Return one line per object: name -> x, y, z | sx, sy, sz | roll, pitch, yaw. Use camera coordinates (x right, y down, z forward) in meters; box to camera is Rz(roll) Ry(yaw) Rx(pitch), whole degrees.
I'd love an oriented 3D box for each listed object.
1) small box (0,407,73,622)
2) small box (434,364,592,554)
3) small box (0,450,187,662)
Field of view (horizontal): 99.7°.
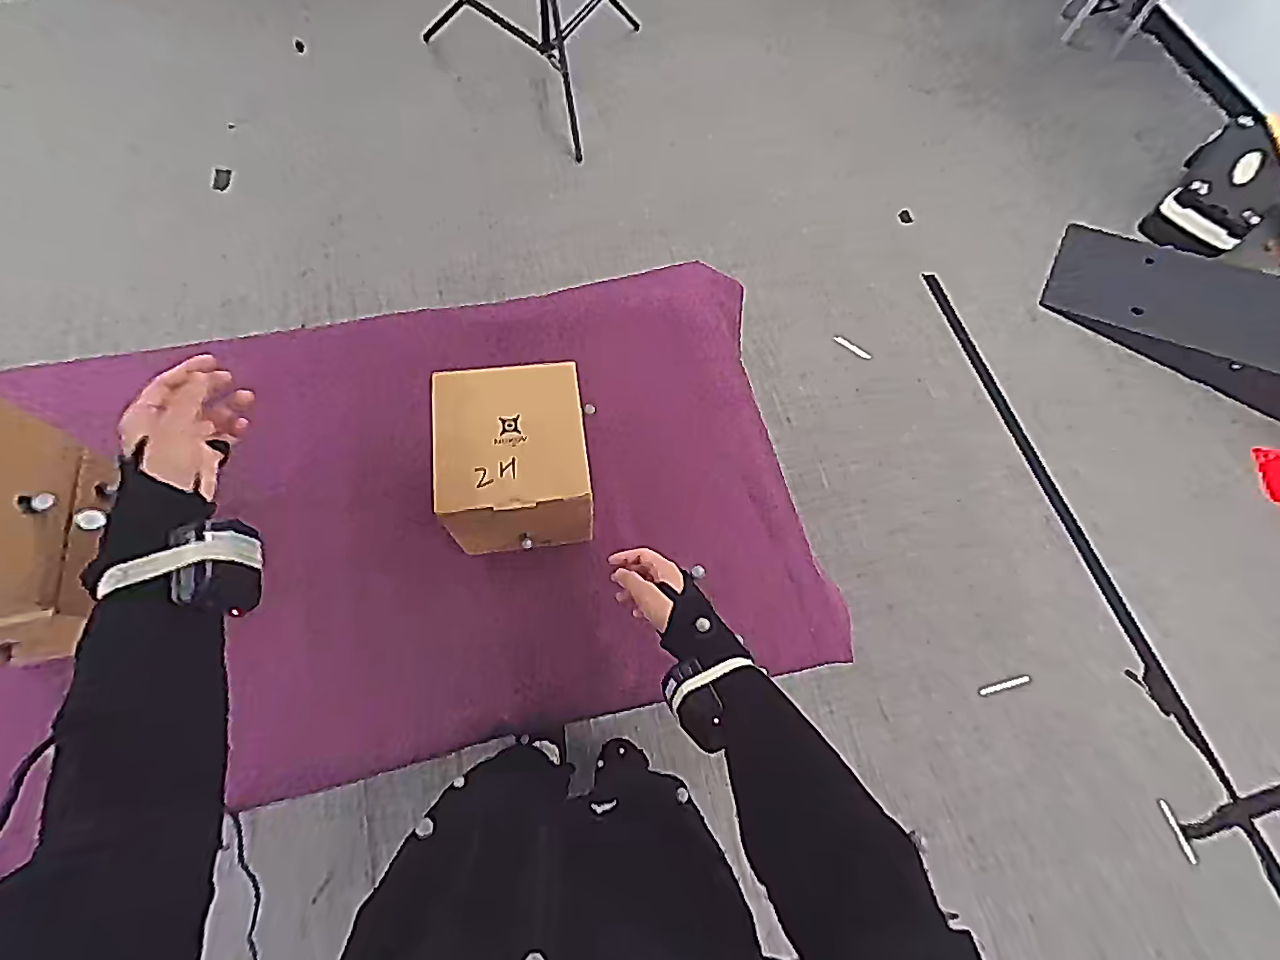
small box -> -0.621, 0.022, 0.432 | 0.168, 0.176, 0.179 | -11, 68, -10
small box -> -0.152, -0.021, 0.674 | 0.168, 0.176, 0.179 | -6, 68, -7
small box -> -0.634, 0.091, 0.581 | 0.168, 0.176, 0.179 | -10, 68, -10
